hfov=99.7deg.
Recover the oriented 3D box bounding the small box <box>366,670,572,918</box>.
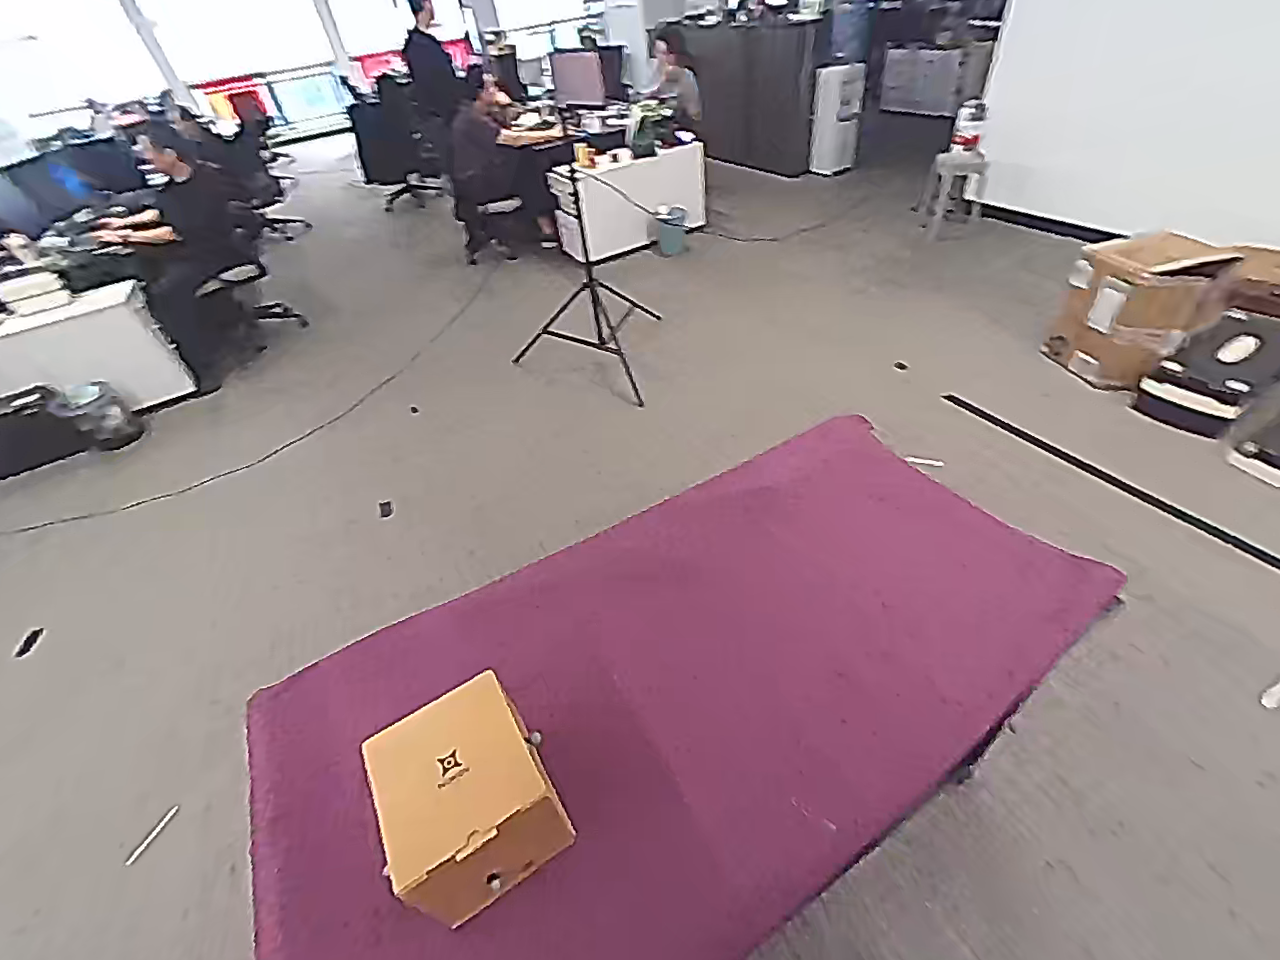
[{"bbox_3d":[-0.201,0.378,0.657,0.168,0.176,0.179,-27,46,-20],"label":"small box"}]
